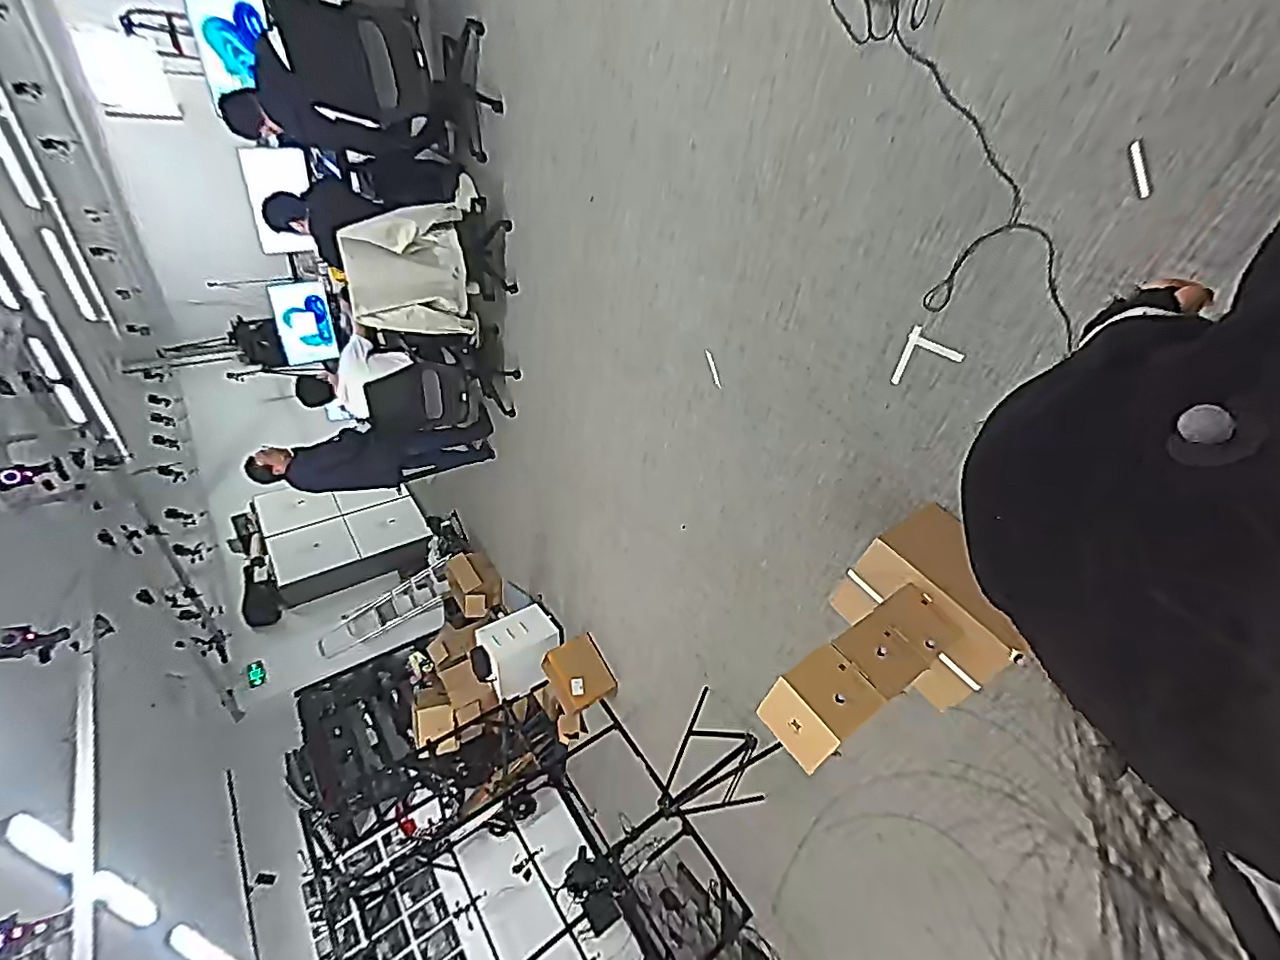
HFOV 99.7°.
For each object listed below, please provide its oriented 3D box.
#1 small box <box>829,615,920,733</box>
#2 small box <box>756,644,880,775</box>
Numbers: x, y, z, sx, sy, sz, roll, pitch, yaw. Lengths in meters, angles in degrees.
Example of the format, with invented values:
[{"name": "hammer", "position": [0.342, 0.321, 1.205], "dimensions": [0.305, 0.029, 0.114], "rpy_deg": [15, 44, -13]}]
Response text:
[{"name": "small box", "position": [0.521, 0.450, 1.270], "dimensions": [0.168, 0.176, 0.179], "rpy_deg": [48, 141, 31]}, {"name": "small box", "position": [0.390, 0.494, 1.182], "dimensions": [0.168, 0.176, 0.179], "rpy_deg": [46, 141, 32]}]
